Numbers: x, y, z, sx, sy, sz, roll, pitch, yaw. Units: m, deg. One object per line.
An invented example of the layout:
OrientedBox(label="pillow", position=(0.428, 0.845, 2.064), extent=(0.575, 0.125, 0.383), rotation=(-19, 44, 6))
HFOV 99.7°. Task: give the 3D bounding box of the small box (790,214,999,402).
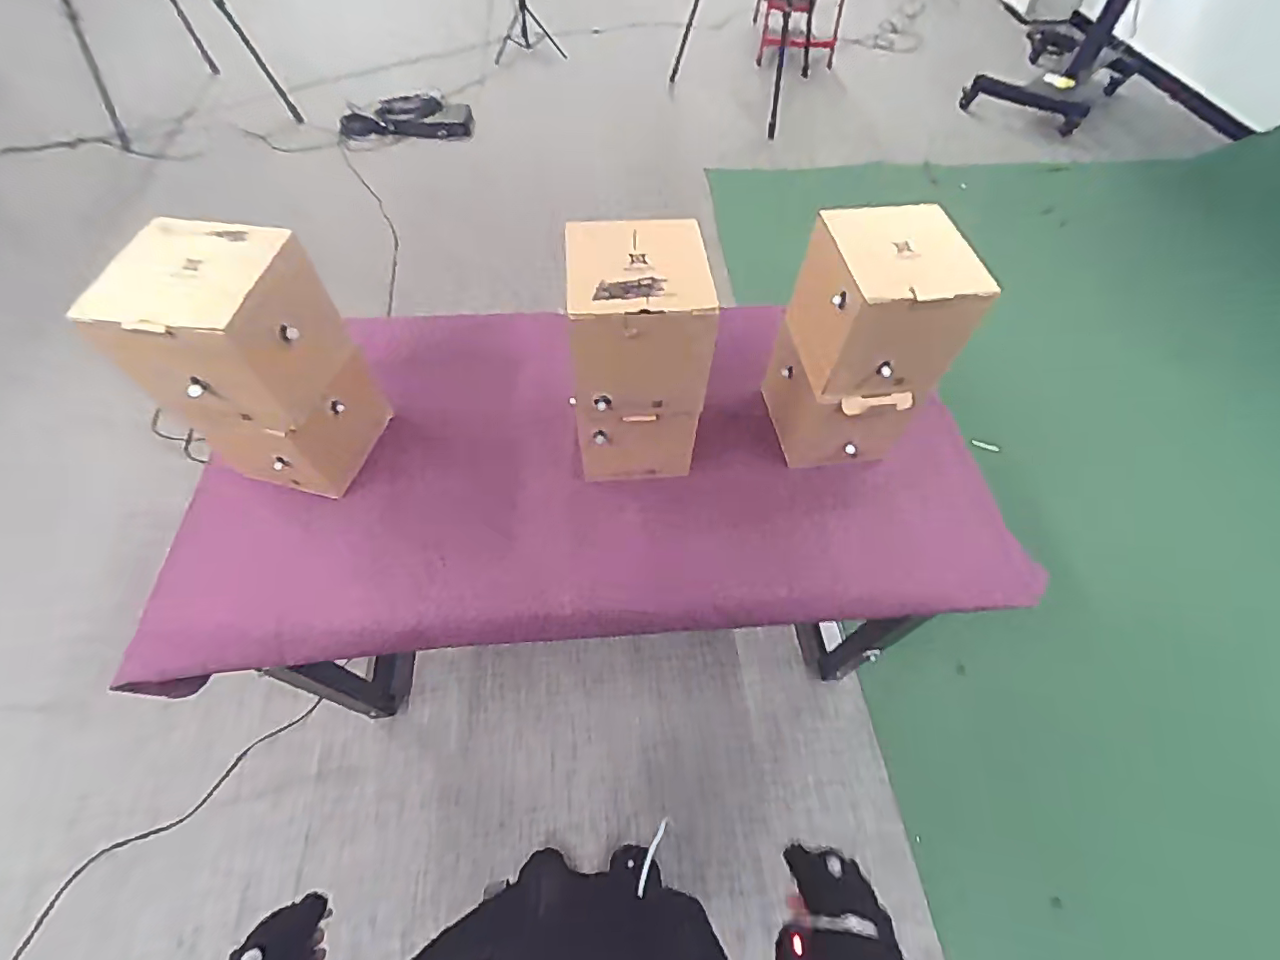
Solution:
OrientedBox(label="small box", position=(0.317, -0.227, 0.722), extent=(0.168, 0.176, 0.179), rotation=(-5, 59, -6))

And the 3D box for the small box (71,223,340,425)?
OrientedBox(label="small box", position=(-0.497, -0.183, 0.660), extent=(0.168, 0.176, 0.179), rotation=(3, 58, -1))

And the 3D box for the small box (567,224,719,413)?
OrientedBox(label="small box", position=(-0.003, -0.197, 0.687), extent=(0.168, 0.176, 0.179), rotation=(-3, 56, -5))

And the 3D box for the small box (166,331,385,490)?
OrientedBox(label="small box", position=(-0.504, -0.108, 0.783), extent=(0.168, 0.176, 0.179), rotation=(13, 58, 5))

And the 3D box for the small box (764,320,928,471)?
OrientedBox(label="small box", position=(0.309, -0.135, 0.857), extent=(0.168, 0.176, 0.179), rotation=(-6, 58, -5))
